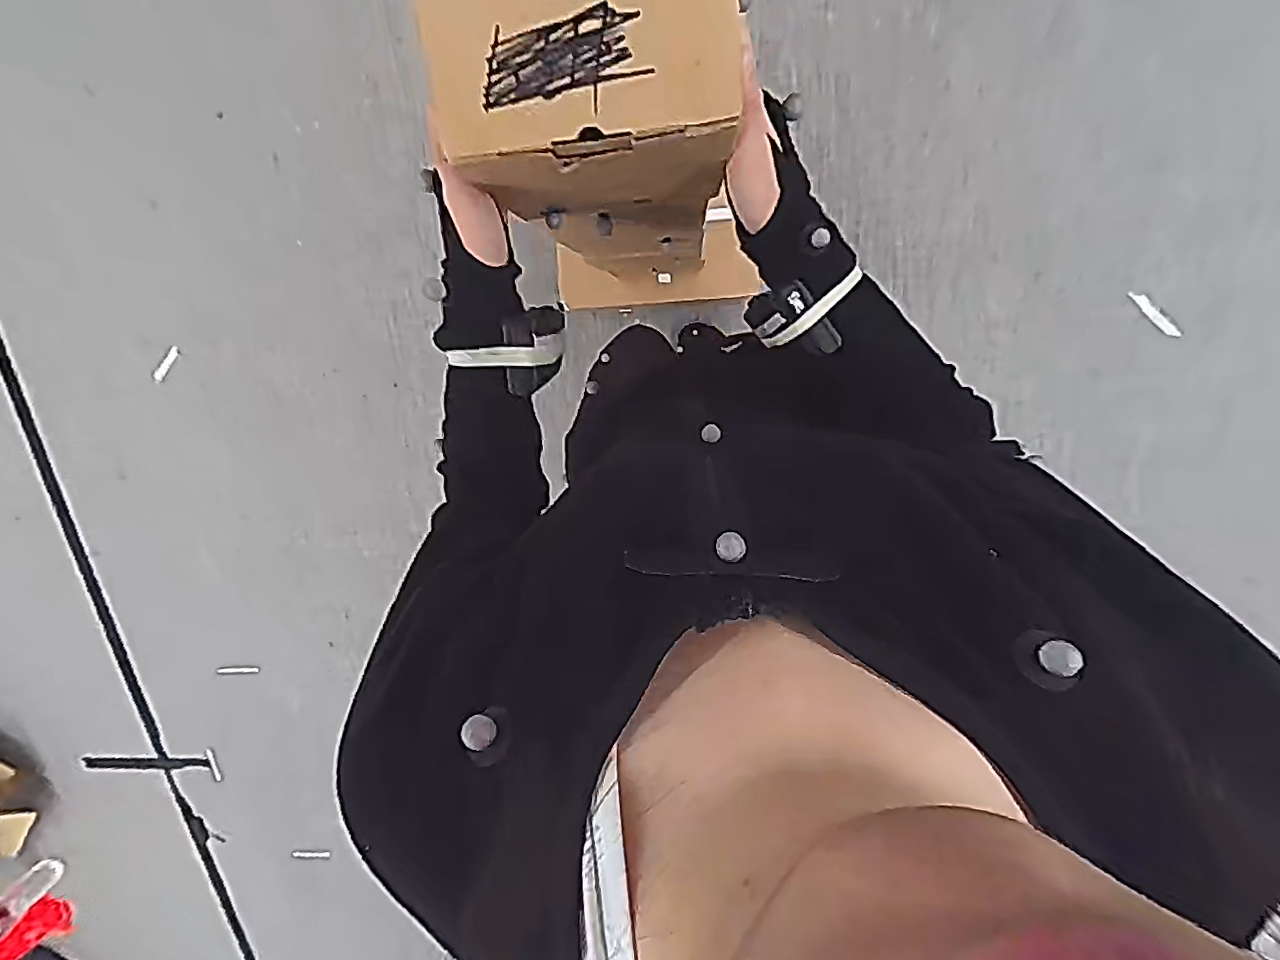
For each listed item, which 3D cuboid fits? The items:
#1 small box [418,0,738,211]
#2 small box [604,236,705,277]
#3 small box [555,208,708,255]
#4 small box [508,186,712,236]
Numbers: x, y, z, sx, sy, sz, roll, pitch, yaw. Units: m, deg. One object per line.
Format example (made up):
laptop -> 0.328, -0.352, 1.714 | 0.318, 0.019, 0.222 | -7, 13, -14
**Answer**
small box -> -0.030, -0.286, 0.348 | 0.168, 0.176, 0.179 | -5, 104, 4
small box -> 0.026, -0.468, 0.983 | 0.179, 0.176, 0.168 | -5, 107, 6
small box -> -0.007, -0.379, 0.669 | 0.179, 0.176, 0.168 | -1, 106, 6
small box -> -0.023, -0.334, 0.514 | 0.179, 0.176, 0.168 | 0, 107, 6
